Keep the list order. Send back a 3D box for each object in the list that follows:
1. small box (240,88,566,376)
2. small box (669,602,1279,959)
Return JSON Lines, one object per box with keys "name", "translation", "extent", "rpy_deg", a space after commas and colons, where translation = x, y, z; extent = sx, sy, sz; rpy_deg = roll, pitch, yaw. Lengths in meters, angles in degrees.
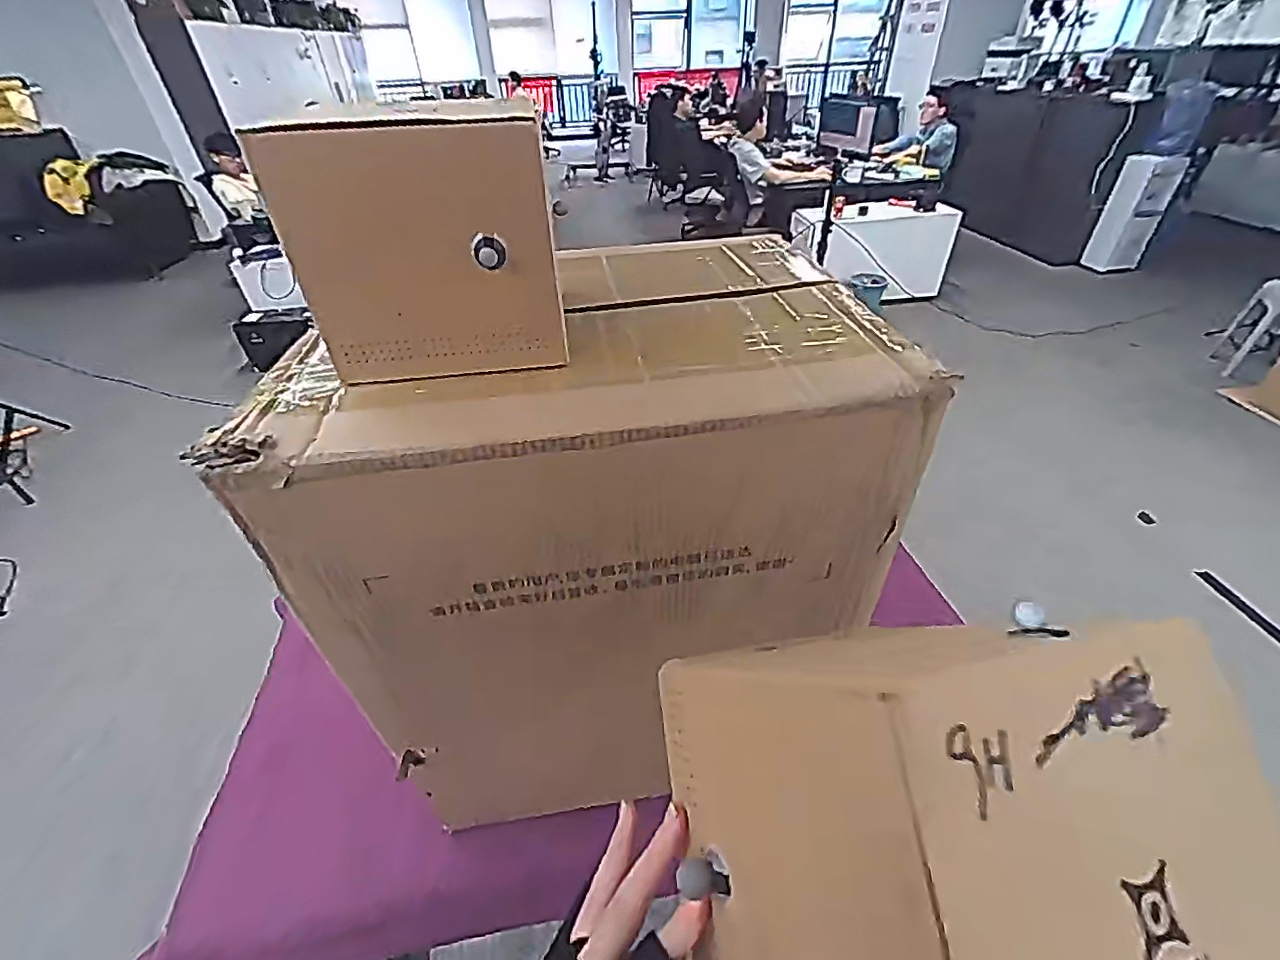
{"name": "small box", "translation": [-0.153, -0.198, 0.428], "extent": [0.179, 0.176, 0.168], "rpy_deg": [-8, 39, -6]}
{"name": "small box", "translation": [0.125, 0.149, 0.228], "extent": [0.168, 0.176, 0.179], "rpy_deg": [-1, 76, -22]}
